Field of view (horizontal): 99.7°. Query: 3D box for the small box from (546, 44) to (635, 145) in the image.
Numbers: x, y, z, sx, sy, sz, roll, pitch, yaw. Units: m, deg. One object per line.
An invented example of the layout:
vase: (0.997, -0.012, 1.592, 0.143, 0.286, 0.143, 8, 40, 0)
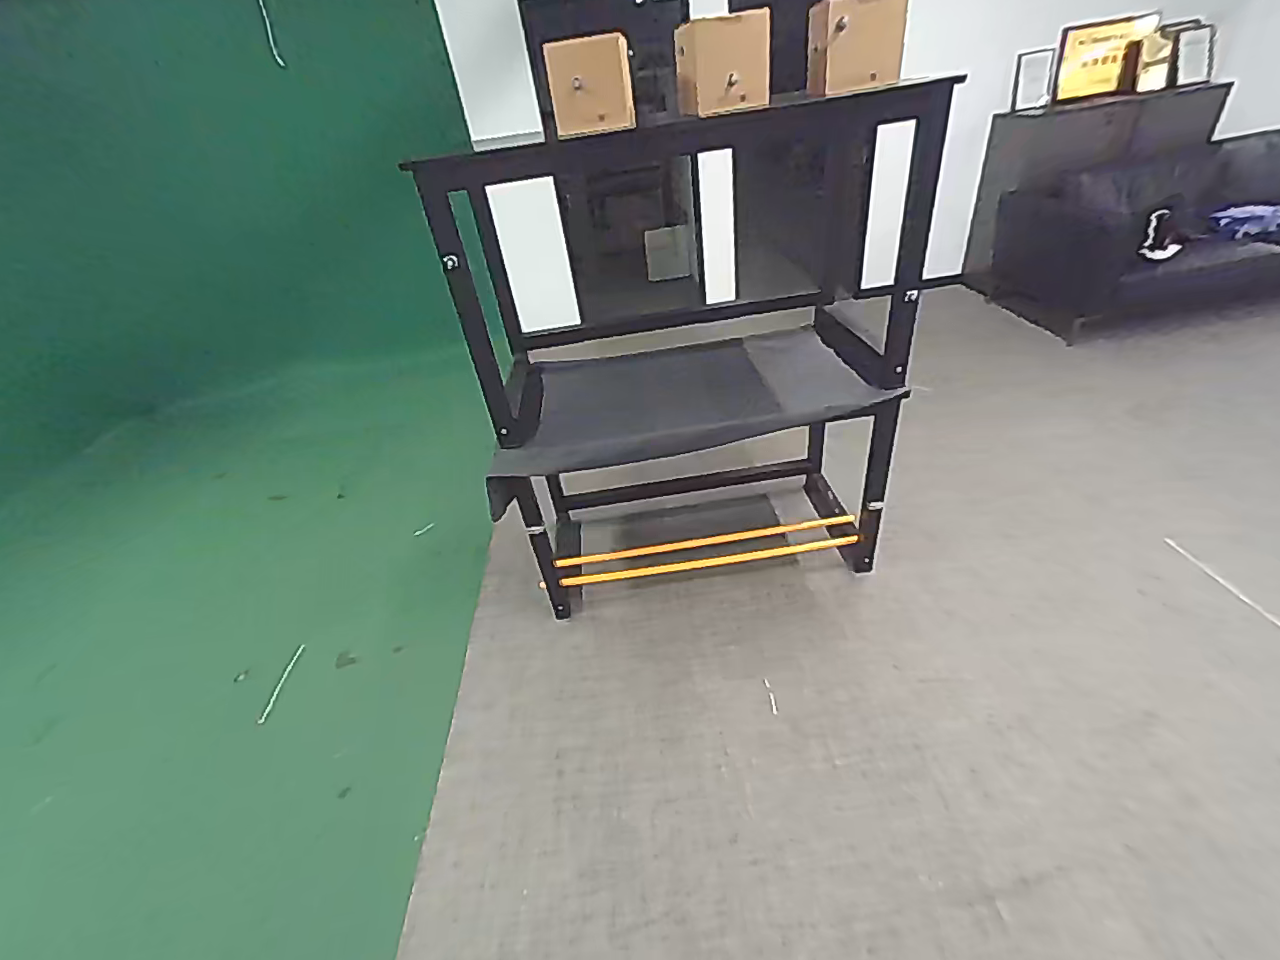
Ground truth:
small box: (-0.107, -0.893, 1.263, 0.168, 0.176, 0.179, -4, 34, 7)

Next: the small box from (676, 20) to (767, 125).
small box: (0.184, -0.929, 1.246, 0.168, 0.176, 0.179, -12, 35, -3)
